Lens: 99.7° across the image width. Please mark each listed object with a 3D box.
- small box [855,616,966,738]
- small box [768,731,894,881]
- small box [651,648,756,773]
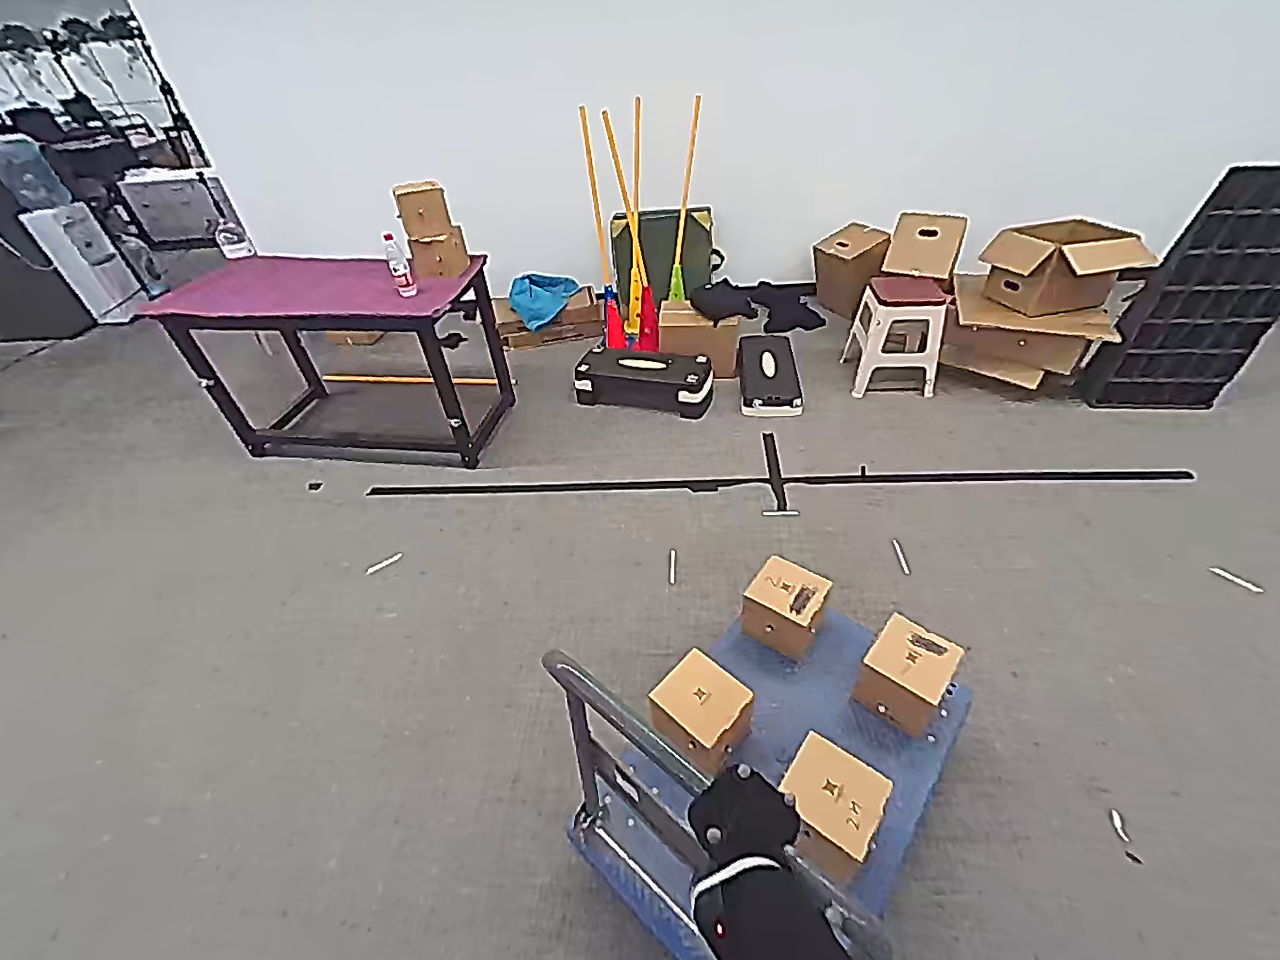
[{"bbox_3d":[0.632,0.466,1.283,0.168,0.176,0.179,29,52,33],"label":"small box"},{"bbox_3d":[0.374,0.657,1.087,0.179,0.176,0.168,27,50,31],"label":"small box"},{"bbox_3d":[0.142,0.535,1.251,0.179,0.176,0.168,32,52,33],"label":"small box"}]
